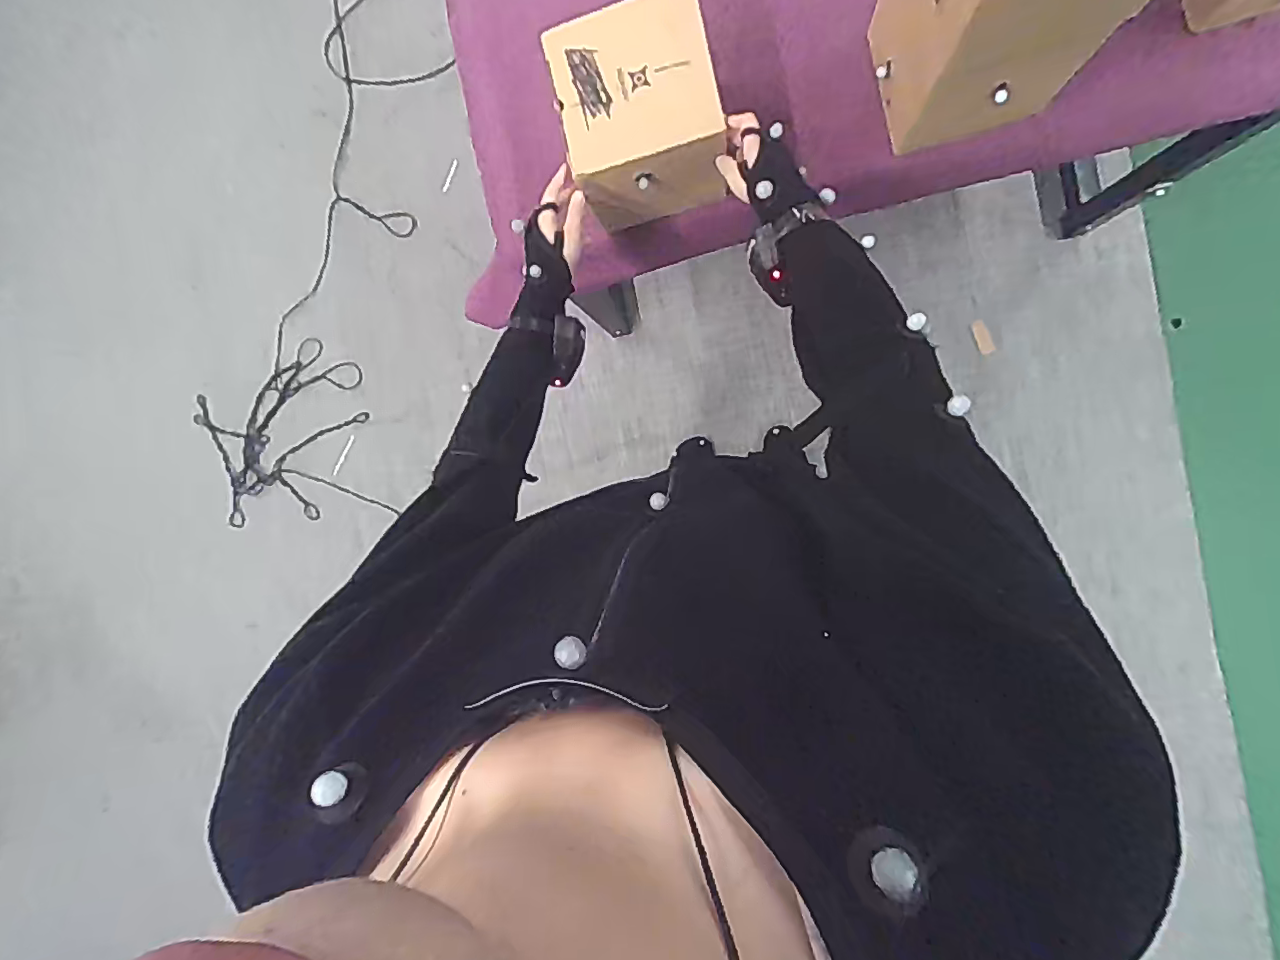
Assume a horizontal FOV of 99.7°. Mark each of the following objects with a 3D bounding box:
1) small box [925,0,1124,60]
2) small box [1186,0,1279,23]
[{"bbox_3d":[0.345,-0.495,0.432,0.179,0.176,0.168,-11,90,11],"label":"small box"},{"bbox_3d":[0.694,-0.615,0.531,0.179,0.176,0.168,-12,90,11],"label":"small box"}]
